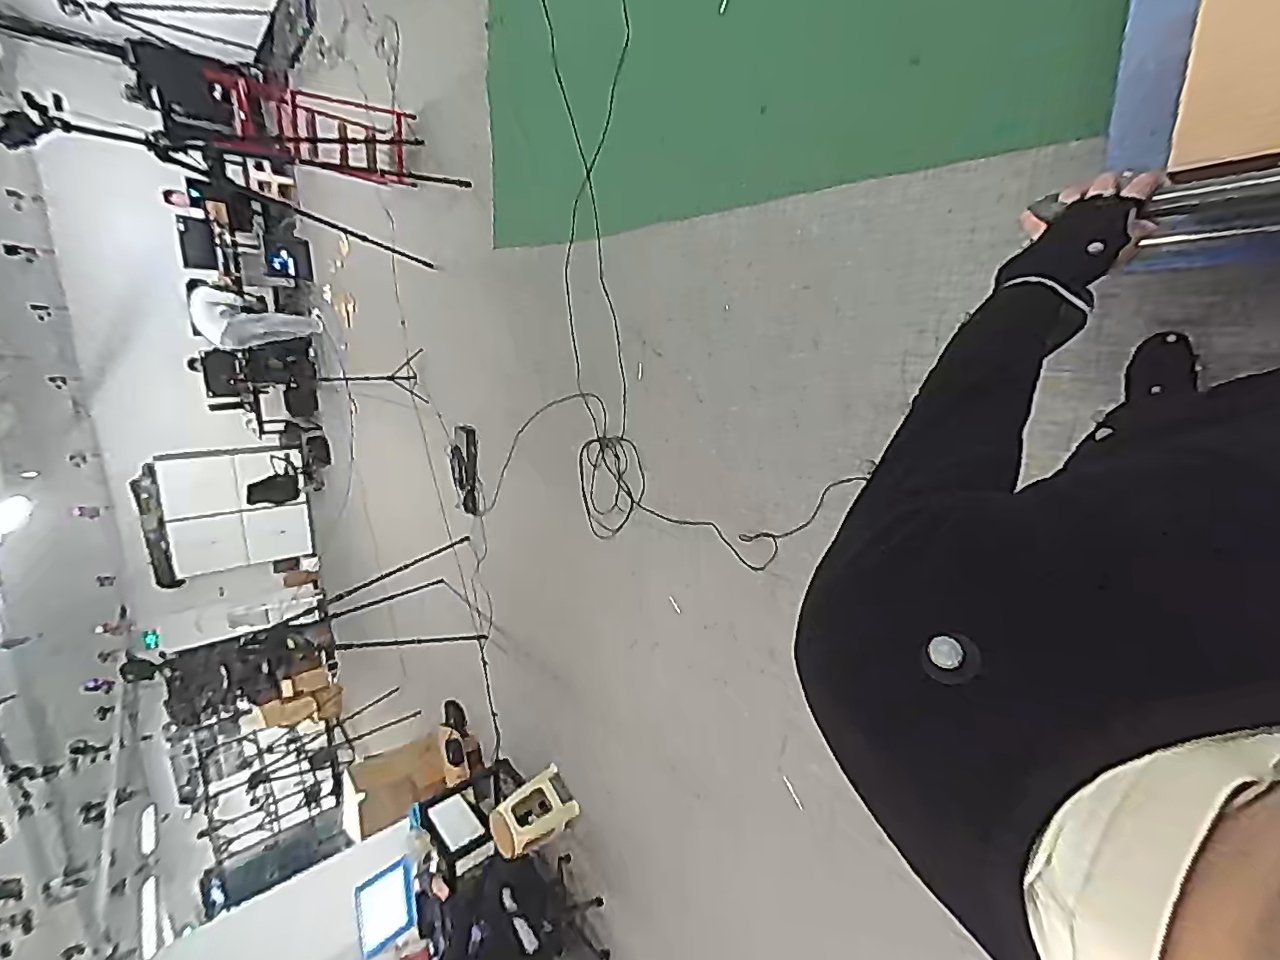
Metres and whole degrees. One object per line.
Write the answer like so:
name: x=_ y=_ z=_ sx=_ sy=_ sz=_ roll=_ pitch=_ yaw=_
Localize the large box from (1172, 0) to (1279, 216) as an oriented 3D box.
large box: x=1.018 y=-0.644 z=0.762 sx=0.320 sy=0.320 sz=0.408 roll=14 pitch=107 yaw=47
